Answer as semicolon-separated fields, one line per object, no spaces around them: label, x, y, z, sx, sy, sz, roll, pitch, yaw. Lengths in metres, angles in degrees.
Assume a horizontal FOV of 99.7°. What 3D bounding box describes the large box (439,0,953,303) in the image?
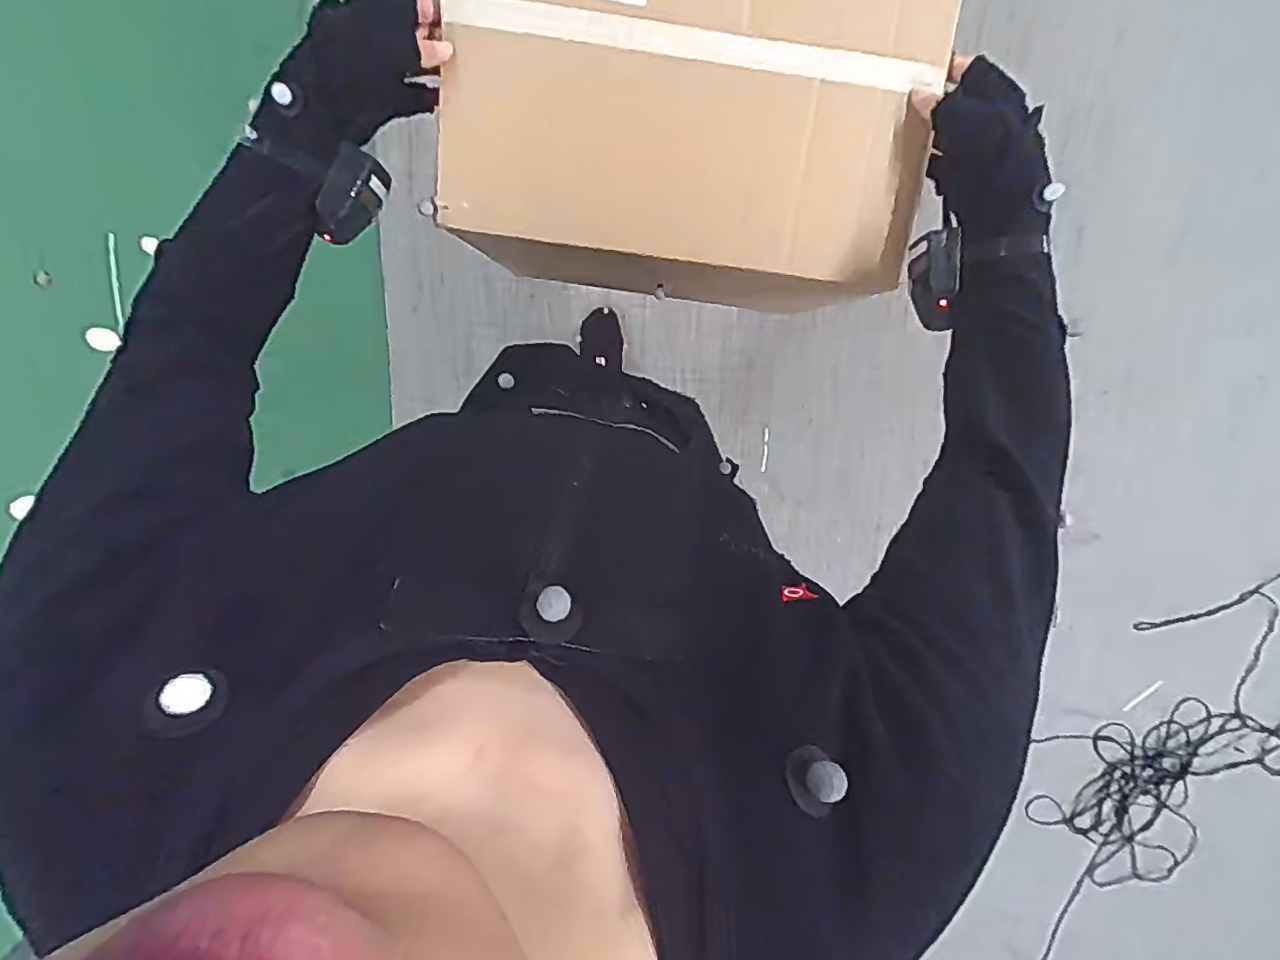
large box;0.043;-0.378;0.577;0.408;0.320;0.320;7;103;-2
